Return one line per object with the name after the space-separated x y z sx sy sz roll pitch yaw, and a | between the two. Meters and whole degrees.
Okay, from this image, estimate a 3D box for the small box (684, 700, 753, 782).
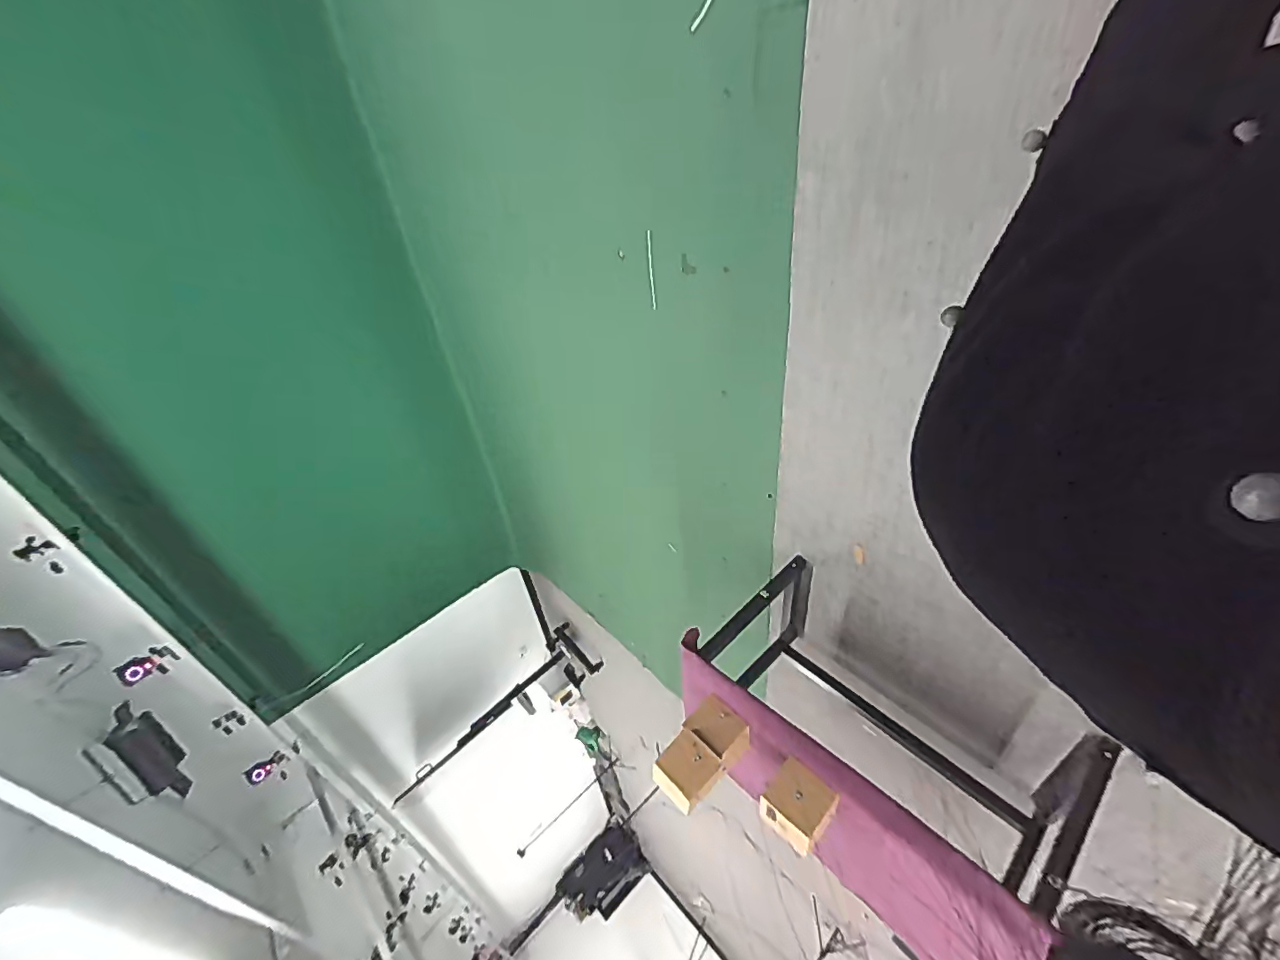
0.278 0.910 1.910 0.179 0.176 0.168 31 143 39 | small box

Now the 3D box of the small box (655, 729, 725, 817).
0.166 0.979 1.811 0.168 0.176 0.179 36 144 32 | small box
